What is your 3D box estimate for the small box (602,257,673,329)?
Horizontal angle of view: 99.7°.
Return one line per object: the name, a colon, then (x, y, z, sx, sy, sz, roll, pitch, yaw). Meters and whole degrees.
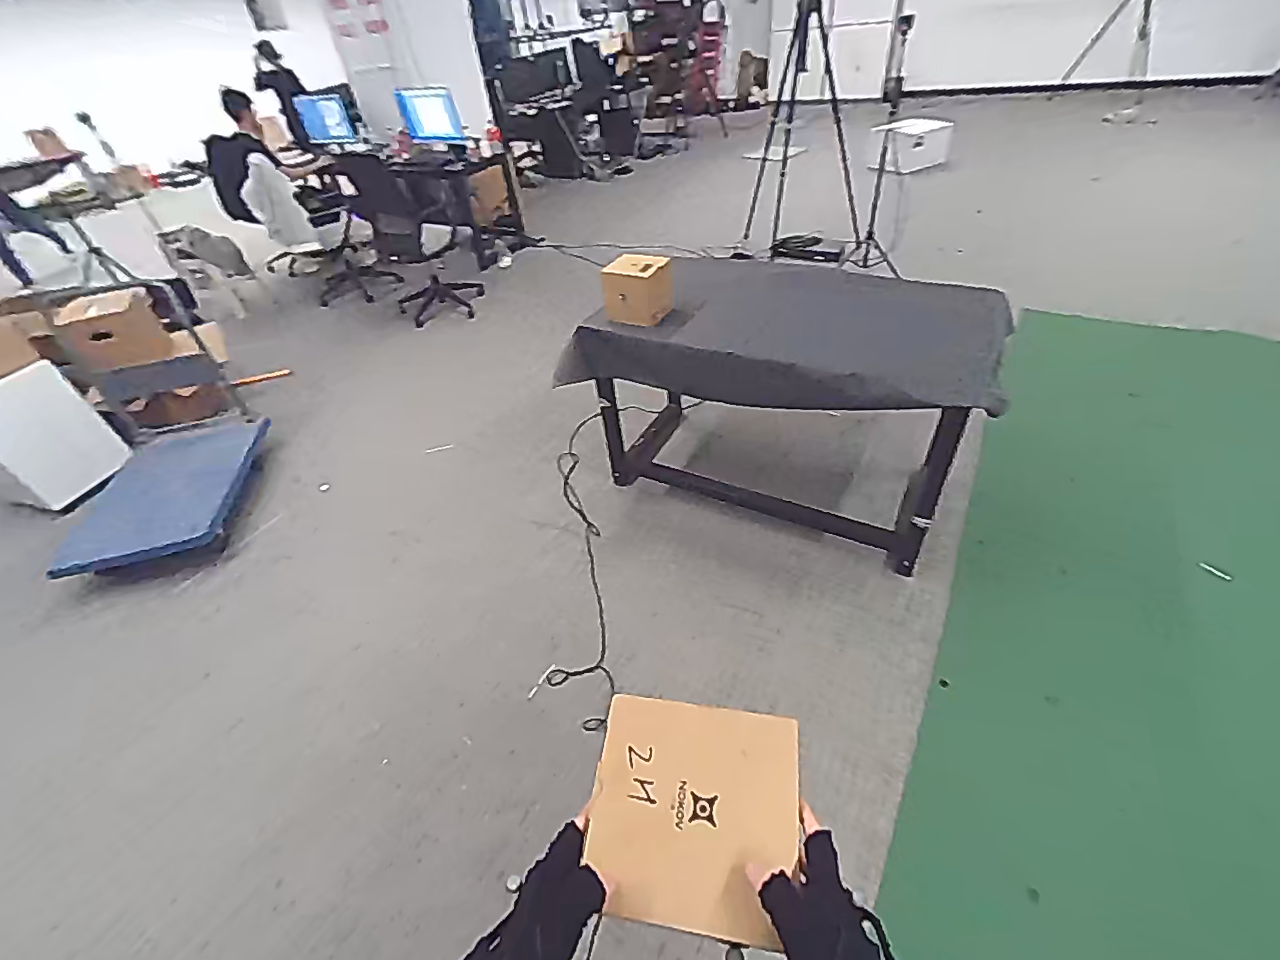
small box: (-0.001, -0.613, 1.774, 0.179, 0.176, 0.168, 17, 46, 26)
